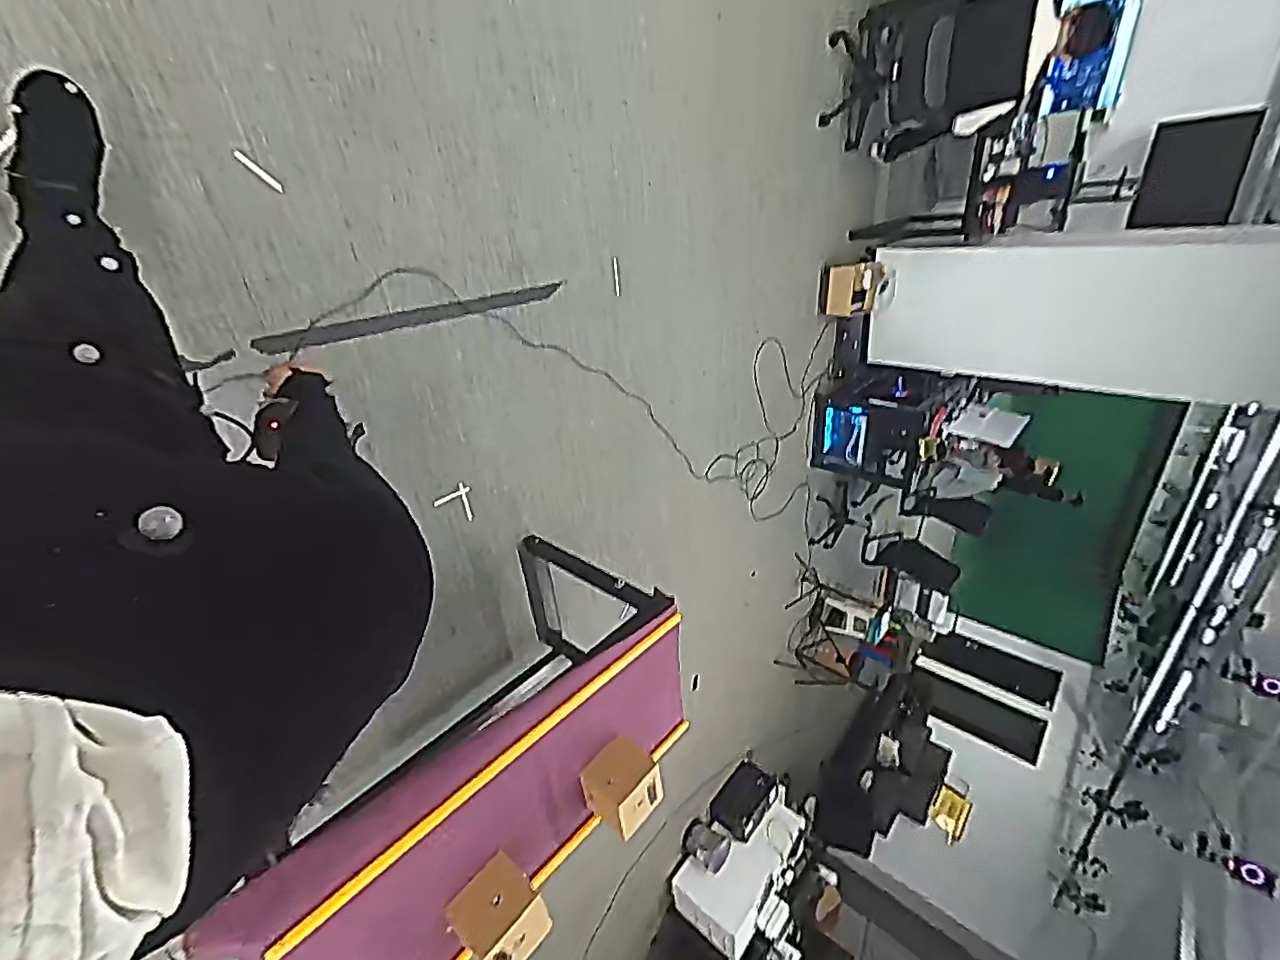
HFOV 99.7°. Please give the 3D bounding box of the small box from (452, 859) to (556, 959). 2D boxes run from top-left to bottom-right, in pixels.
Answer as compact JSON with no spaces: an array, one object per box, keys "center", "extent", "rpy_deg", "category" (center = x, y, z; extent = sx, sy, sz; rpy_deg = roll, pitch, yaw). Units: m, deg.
[{"center":[-0.342,1.105,1.341],"extent":[0.179,0.176,0.168],"rpy_deg":[-34,127,-38],"category":"small box"}]
